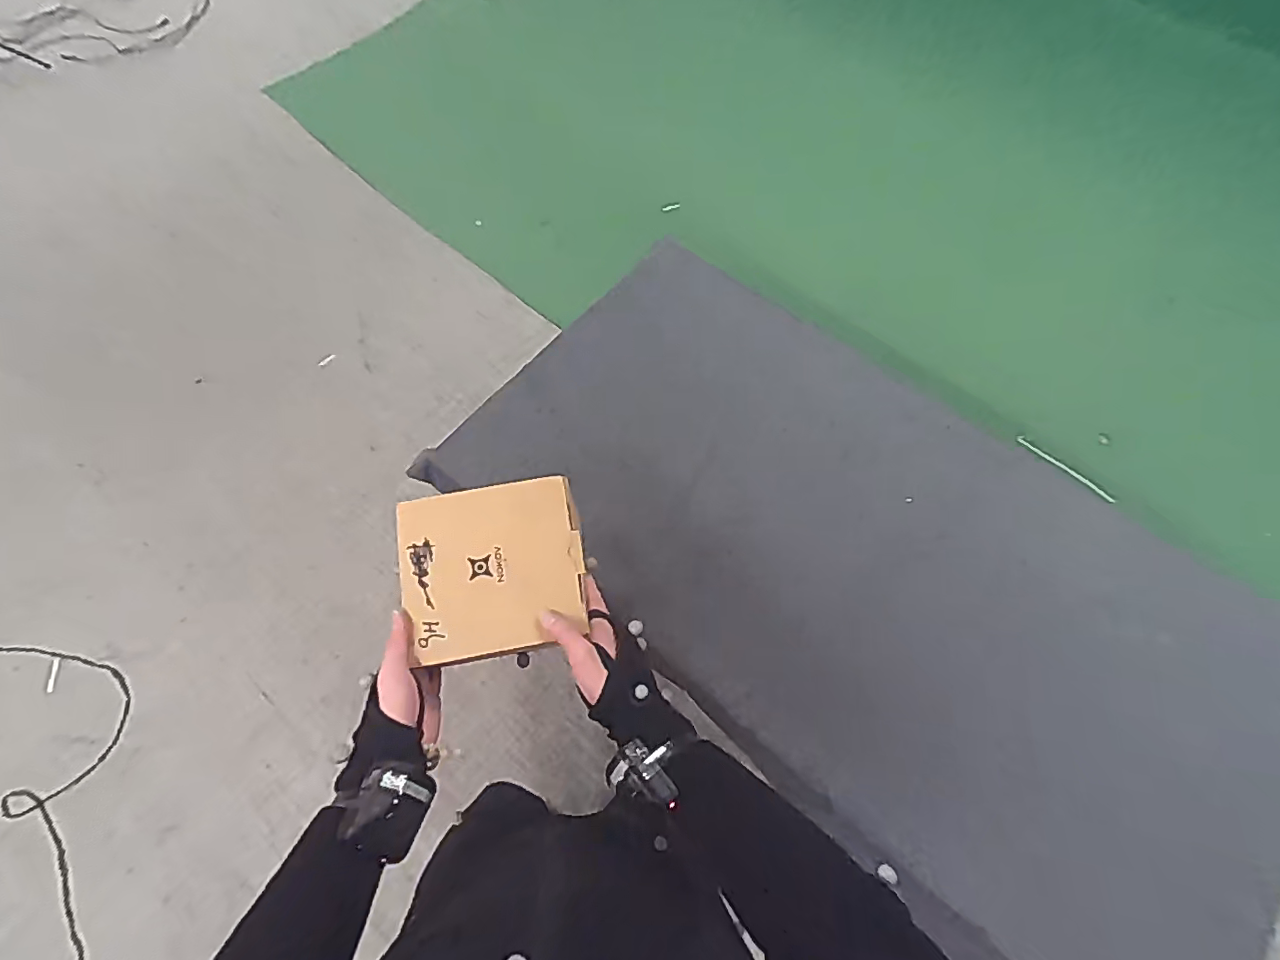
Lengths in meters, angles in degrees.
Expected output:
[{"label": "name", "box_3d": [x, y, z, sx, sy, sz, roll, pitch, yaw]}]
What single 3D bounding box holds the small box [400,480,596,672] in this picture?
[{"label": "small box", "box_3d": [-0.146, 0.112, 0.595, 0.179, 0.176, 0.168, -8, 71, -7]}]
